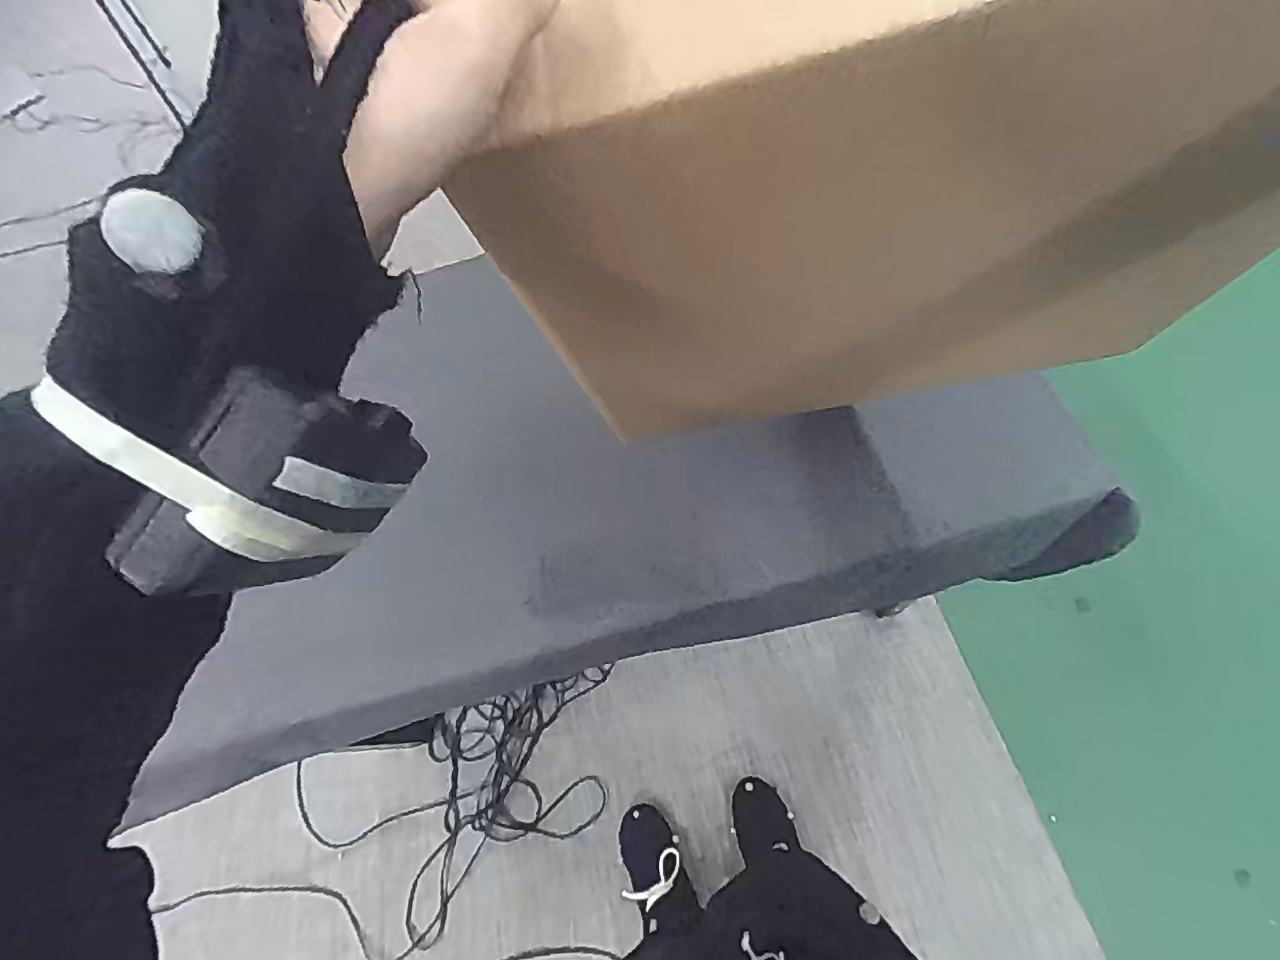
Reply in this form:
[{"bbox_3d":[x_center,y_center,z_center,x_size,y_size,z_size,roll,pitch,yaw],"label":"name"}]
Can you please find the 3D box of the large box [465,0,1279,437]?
[{"bbox_3d":[0.140,-0.250,0.348,0.408,0.320,0.320,-10,74,8],"label":"large box"}]
